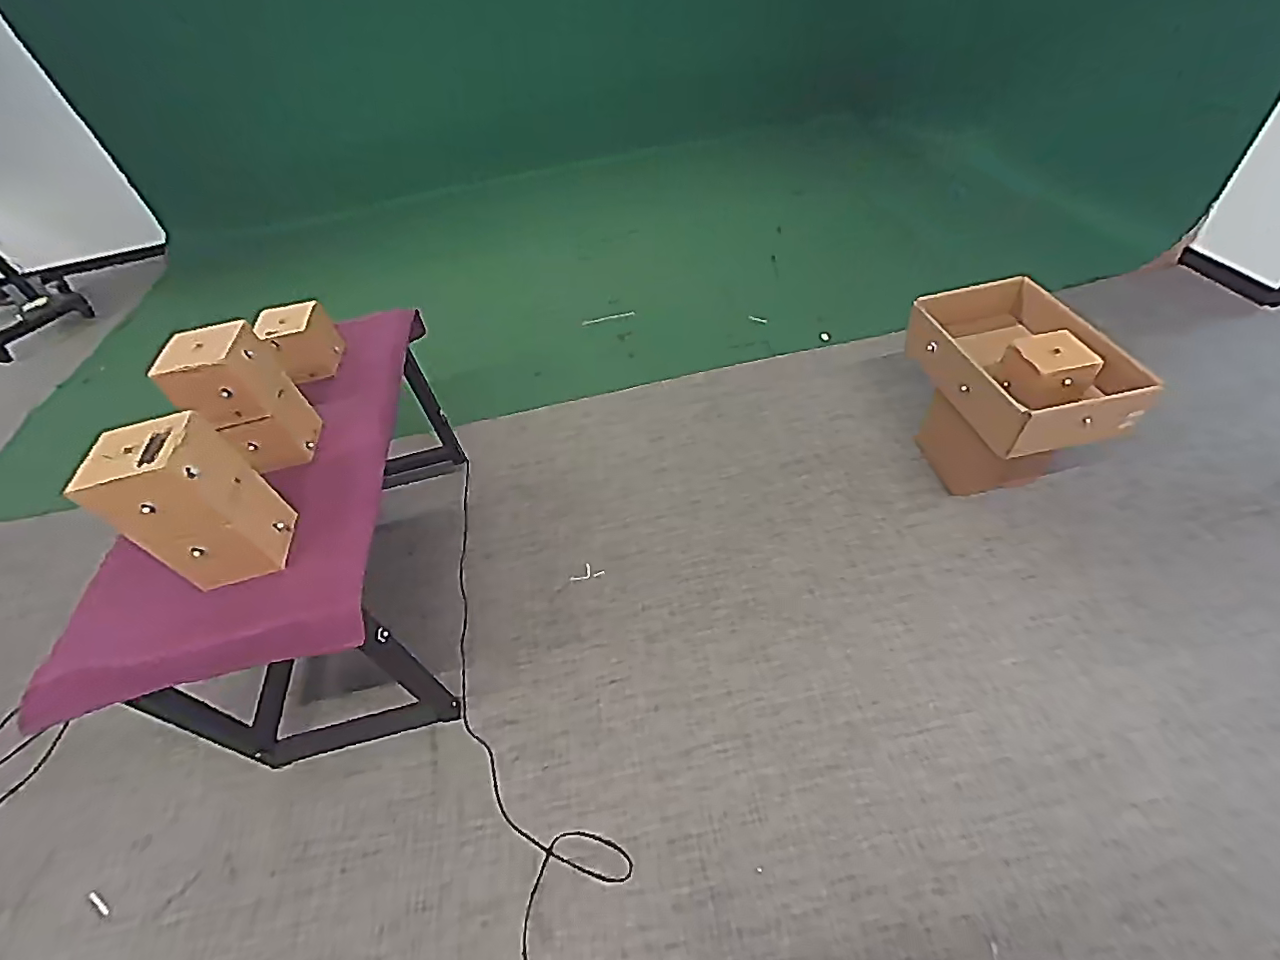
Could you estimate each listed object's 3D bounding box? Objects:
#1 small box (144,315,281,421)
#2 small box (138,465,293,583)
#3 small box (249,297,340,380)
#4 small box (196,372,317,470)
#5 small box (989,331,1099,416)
[{"bbox_3d":[-0.983,-0.255,1.266,0.168,0.176,0.179,-13,47,-4],"label":"small box"},{"bbox_3d":[-0.890,0.098,1.155,0.179,0.176,0.168,-14,48,-4],"label":"small box"},{"bbox_3d":[-1.045,-0.428,1.648,0.168,0.176,0.179,-13,48,-2],"label":"small box"},{"bbox_3d":[-0.968,-0.147,1.387,0.179,0.176,0.168,-14,48,-3],"label":"small box"},{"bbox_3d":[1.195,-0.316,1.617,0.179,0.176,0.168,-11,49,0],"label":"small box"}]
